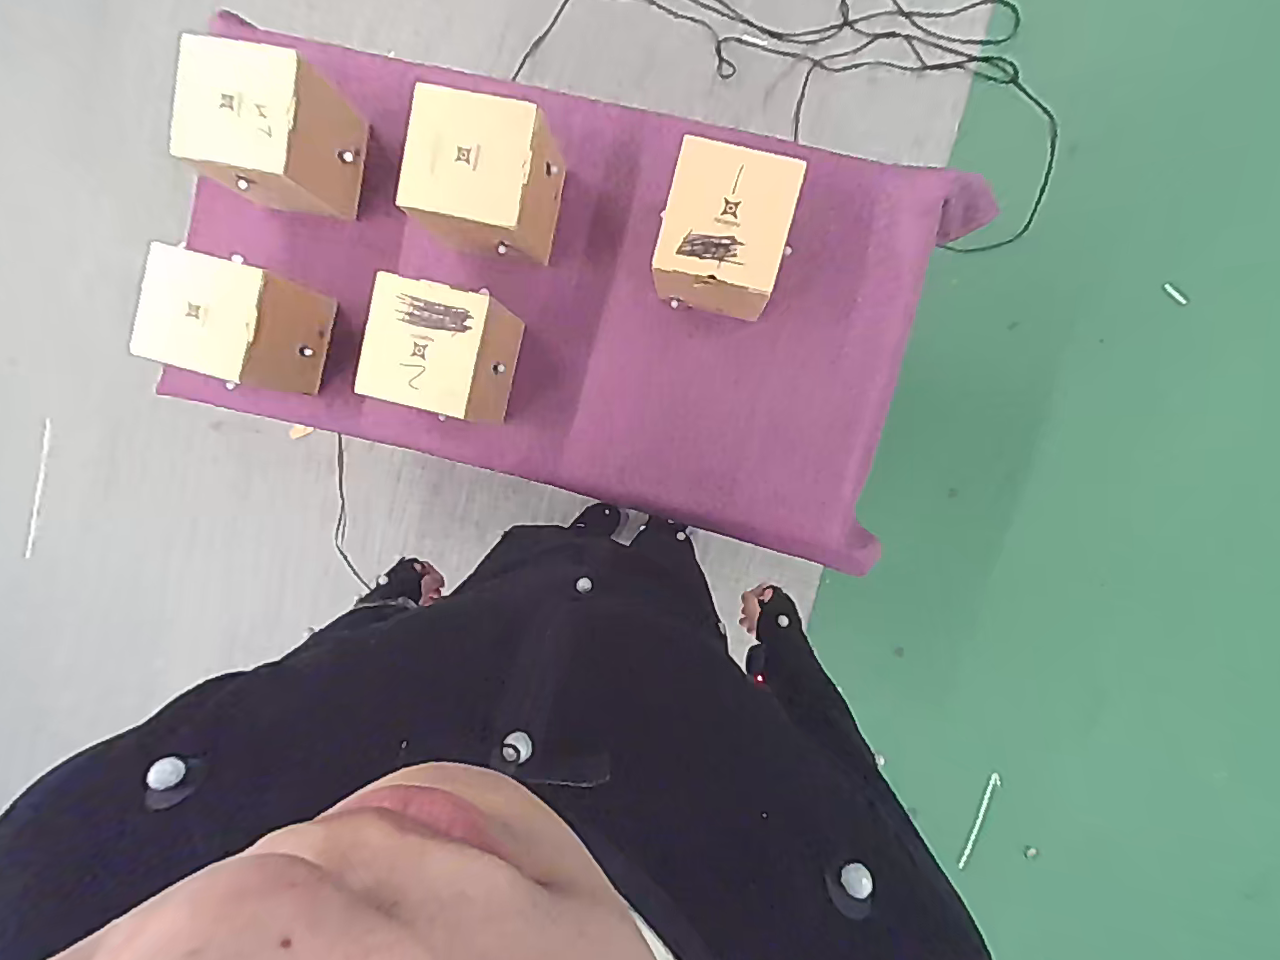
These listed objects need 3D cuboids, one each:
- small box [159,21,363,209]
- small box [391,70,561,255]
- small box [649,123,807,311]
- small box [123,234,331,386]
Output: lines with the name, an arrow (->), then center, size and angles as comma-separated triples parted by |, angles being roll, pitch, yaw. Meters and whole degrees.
small box -> -0.555, -0.531, 0.811 | 0.179, 0.176, 0.168 | 12, 96, 3
small box -> -0.228, -0.448, 0.793 | 0.179, 0.176, 0.168 | 13, 95, 4
small box -> 0.119, -0.357, 0.770 | 0.168, 0.176, 0.179 | 15, 95, 4
small box -> -0.627, -0.251, 0.839 | 0.179, 0.176, 0.168 | 15, 94, 2
